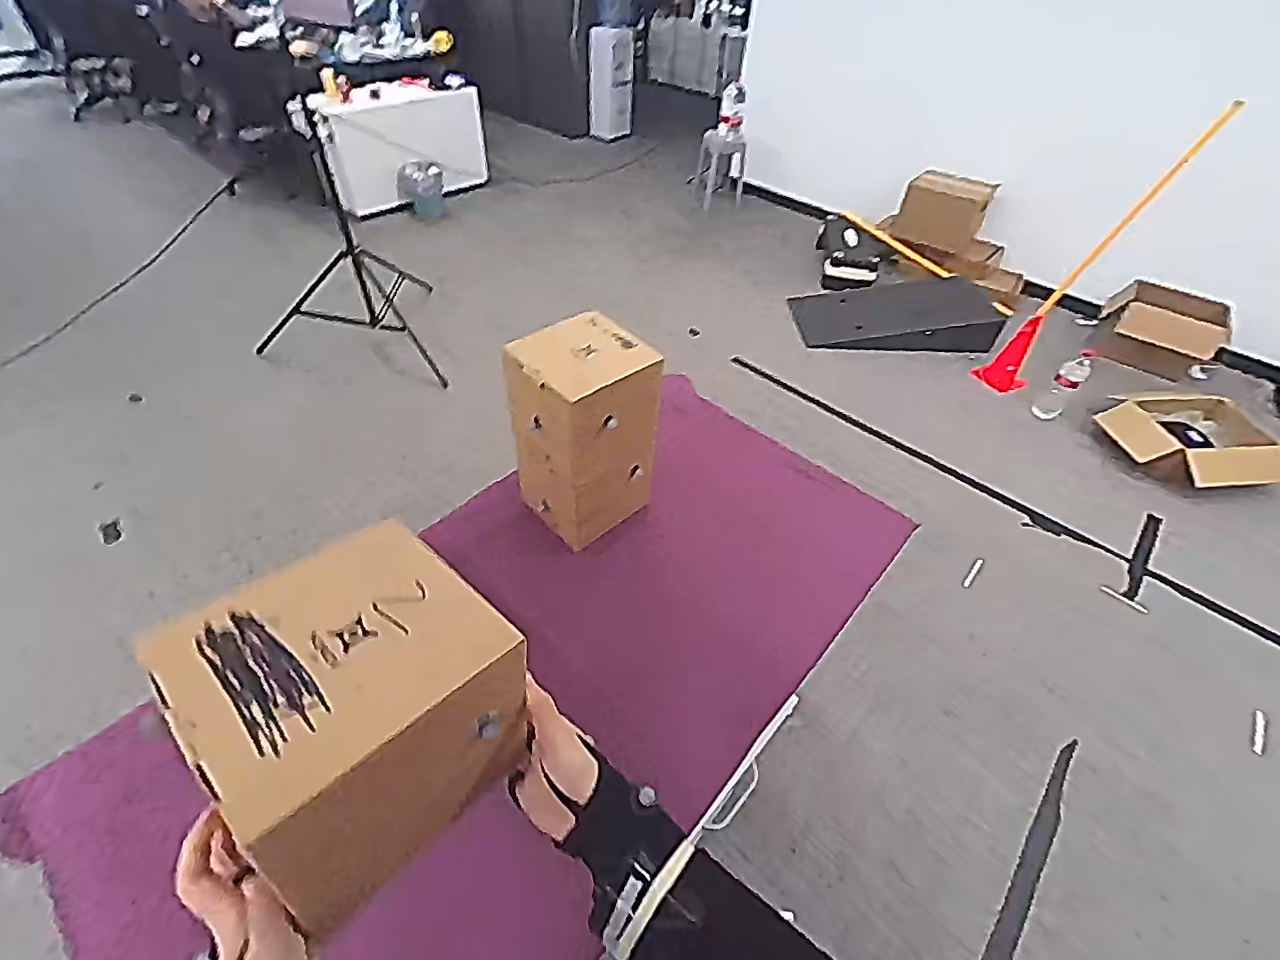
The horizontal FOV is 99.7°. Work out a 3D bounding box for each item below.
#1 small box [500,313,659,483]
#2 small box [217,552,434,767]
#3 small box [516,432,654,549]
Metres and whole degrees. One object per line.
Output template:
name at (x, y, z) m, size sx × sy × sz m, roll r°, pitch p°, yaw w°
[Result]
small box at (-0.090, -0.126, 0.840) m, size 0.179 × 0.176 × 0.168 m, roll -33°, pitch 58°, yaw -29°
small box at (-0.397, 0.234, 0.705) m, size 0.168 × 0.176 × 0.179 m, roll -32°, pitch 59°, yaw -28°
small box at (-0.097, -0.014, 0.960) m, size 0.179 × 0.176 × 0.168 m, roll -34°, pitch 58°, yaw -30°
